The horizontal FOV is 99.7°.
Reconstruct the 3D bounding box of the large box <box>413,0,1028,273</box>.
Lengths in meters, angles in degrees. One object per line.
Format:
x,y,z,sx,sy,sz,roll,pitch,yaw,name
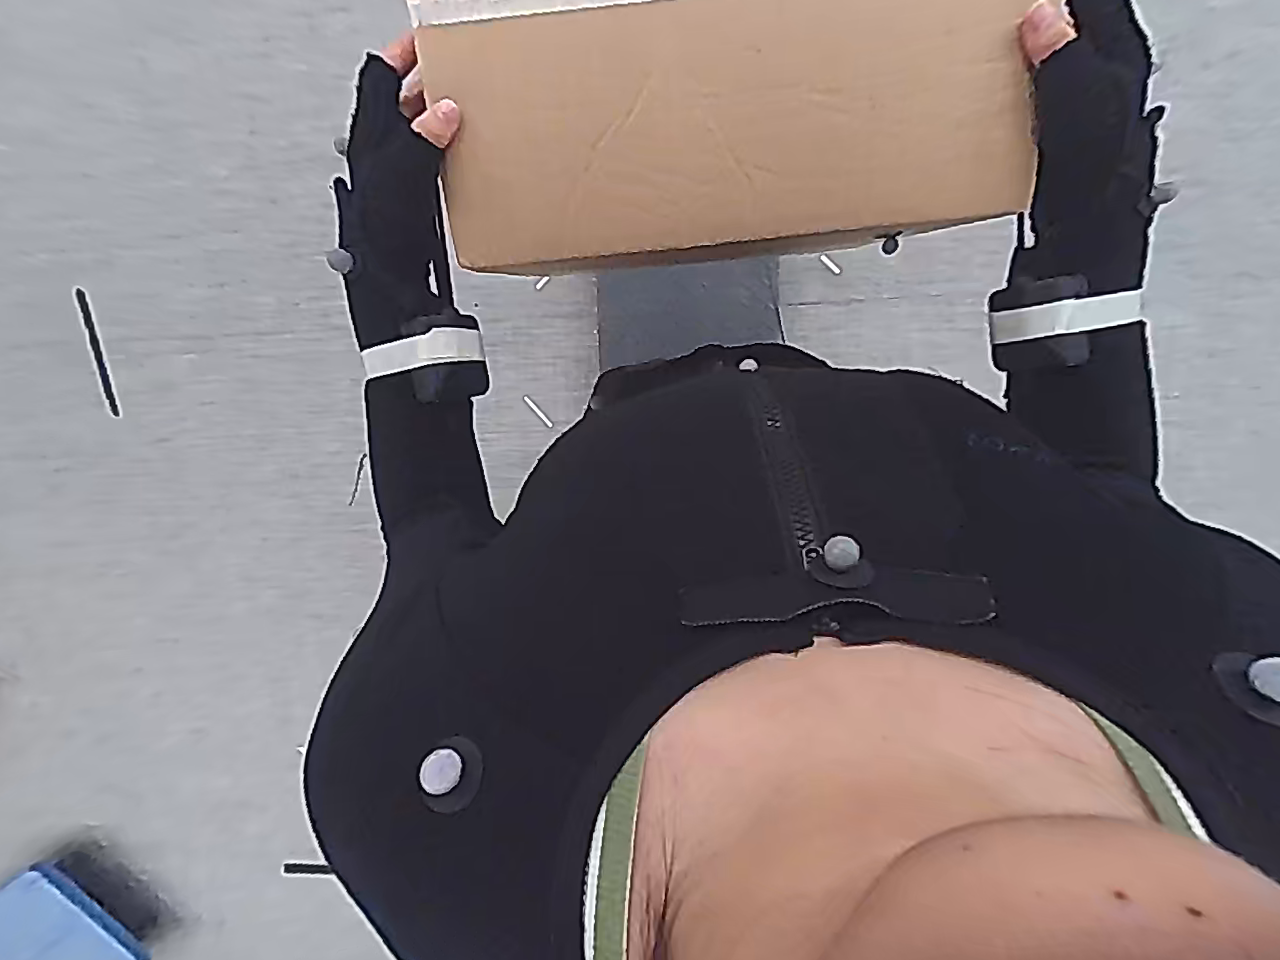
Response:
0.053,-0.369,0.484,0.408,0.320,0.320,-5,109,2,large box
